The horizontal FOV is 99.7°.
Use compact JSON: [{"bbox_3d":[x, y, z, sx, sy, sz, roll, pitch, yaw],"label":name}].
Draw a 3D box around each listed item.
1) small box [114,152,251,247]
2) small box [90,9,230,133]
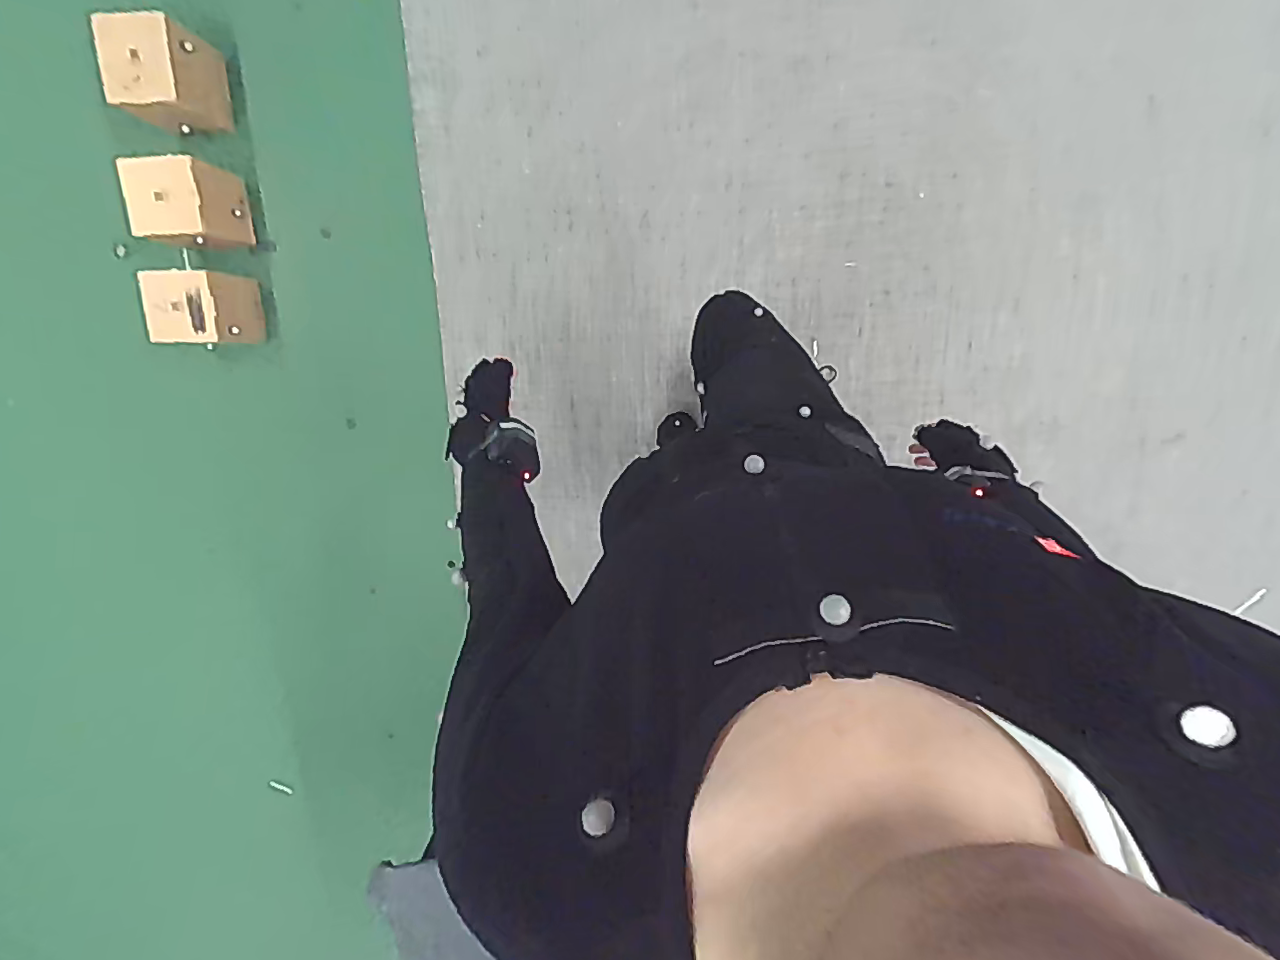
[{"bbox_3d":[-1.098,-0.670,1.310,0.179,0.176,0.168,-2,102,2],"label":"small box"},{"bbox_3d":[-1.098,-0.939,1.252,0.168,0.176,0.179,1,102,2],"label":"small box"}]
